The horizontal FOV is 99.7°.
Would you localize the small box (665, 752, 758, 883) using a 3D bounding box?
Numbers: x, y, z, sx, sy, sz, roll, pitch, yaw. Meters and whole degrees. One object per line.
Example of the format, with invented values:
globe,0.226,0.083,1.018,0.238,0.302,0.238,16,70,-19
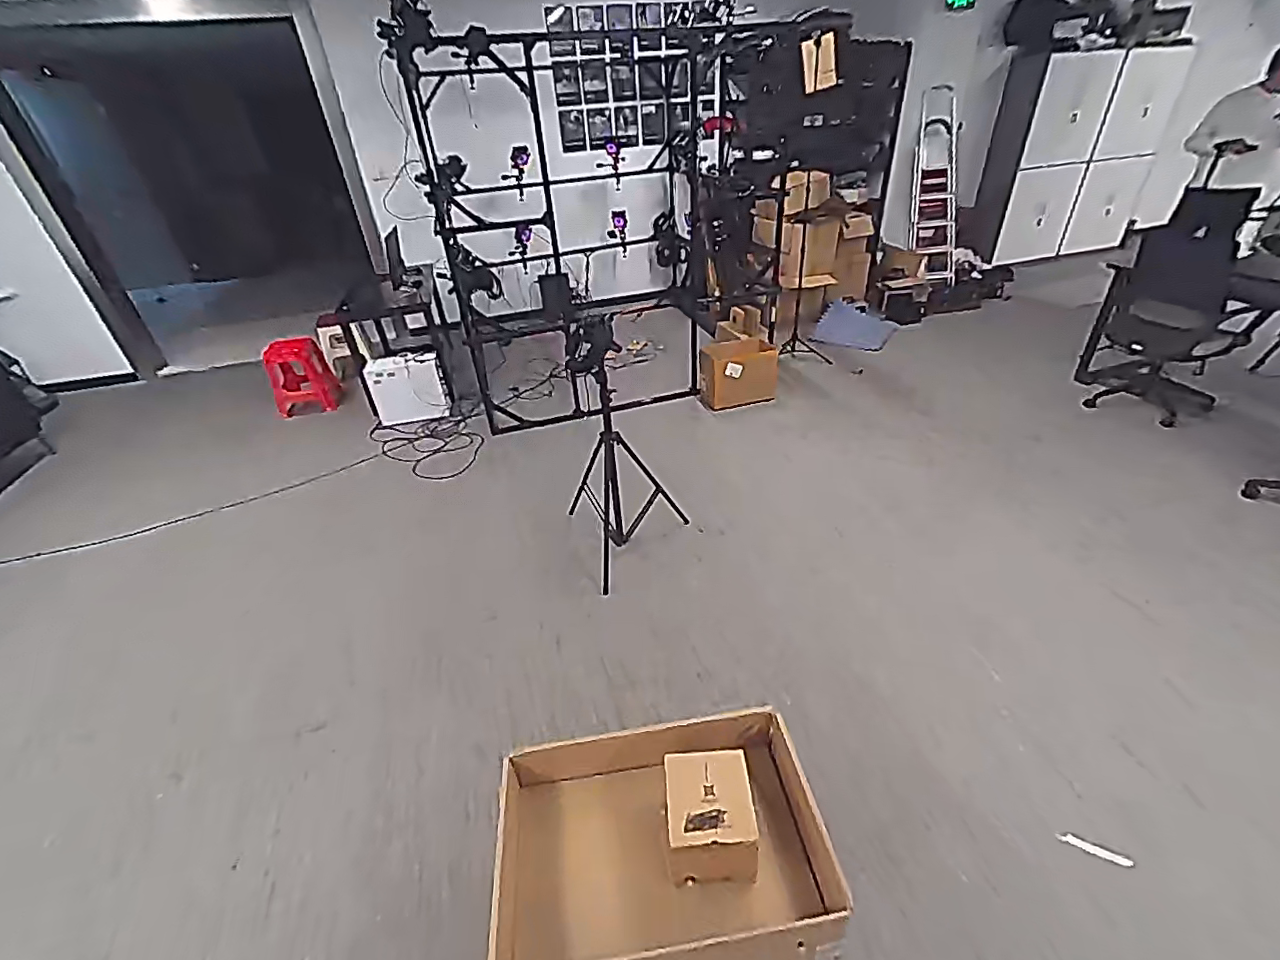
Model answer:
small box,0.140,0.681,1.086,0.168,0.176,0.179,-5,33,2
